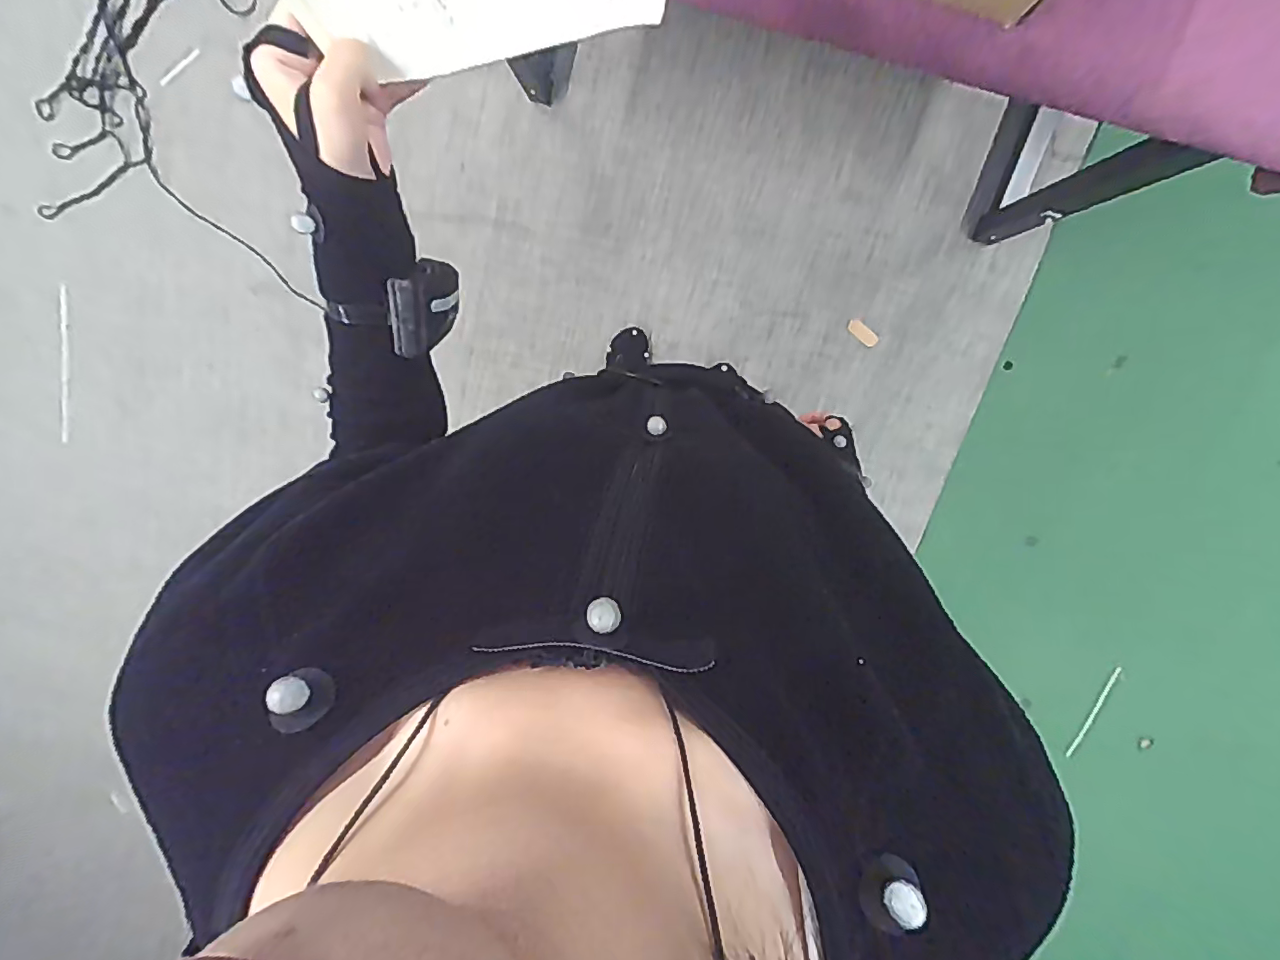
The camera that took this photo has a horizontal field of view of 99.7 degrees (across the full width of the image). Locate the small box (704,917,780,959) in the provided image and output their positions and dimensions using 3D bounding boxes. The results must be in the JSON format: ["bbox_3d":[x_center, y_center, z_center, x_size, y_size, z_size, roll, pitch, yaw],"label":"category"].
[{"bbox_3d":[0.262,1.265,1.378,0.179,0.176,0.168,6,102,4],"label":"small box"}]
